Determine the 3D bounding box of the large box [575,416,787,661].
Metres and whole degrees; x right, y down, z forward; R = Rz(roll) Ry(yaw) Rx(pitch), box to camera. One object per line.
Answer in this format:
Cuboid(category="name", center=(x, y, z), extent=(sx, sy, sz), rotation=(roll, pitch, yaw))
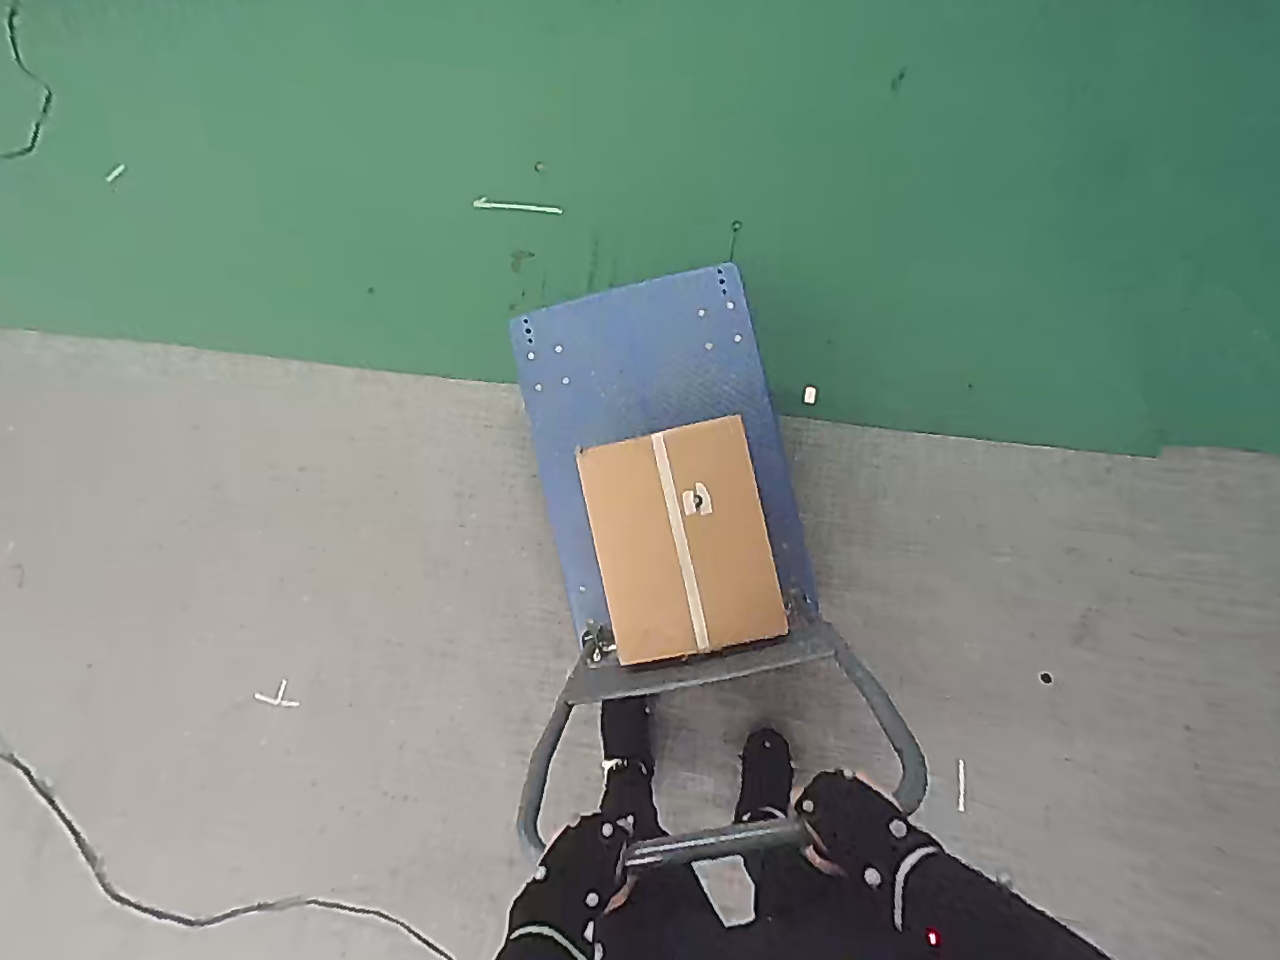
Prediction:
Cuboid(category="large box", center=(0.087, 0.112, 1.137), extent=(0.320, 0.320, 0.408), rotation=(-13, 88, 4))
